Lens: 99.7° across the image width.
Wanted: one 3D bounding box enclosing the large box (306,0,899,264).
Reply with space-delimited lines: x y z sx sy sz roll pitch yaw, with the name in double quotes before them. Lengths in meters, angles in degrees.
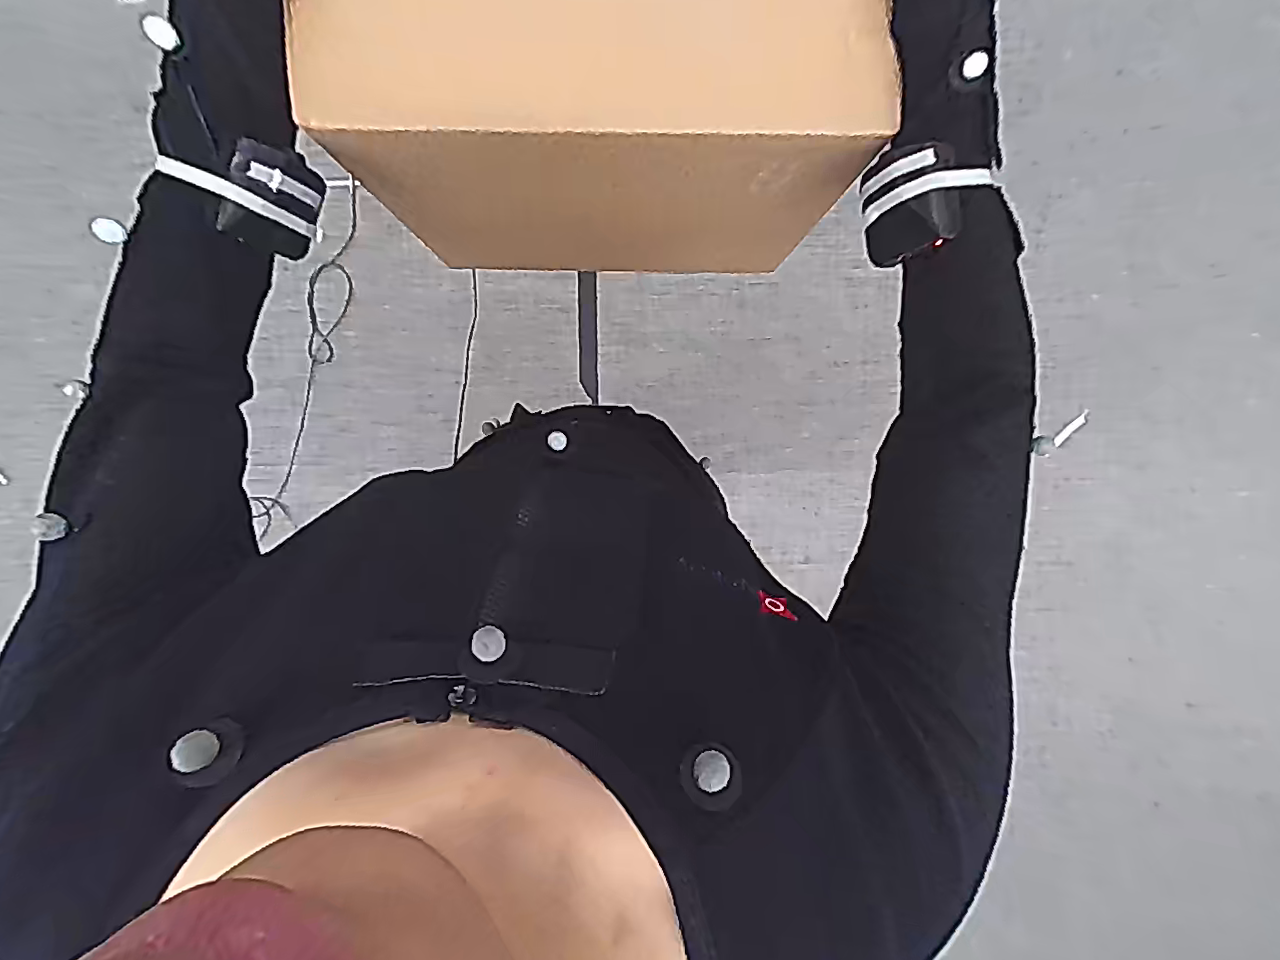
"large box" -0.028 -0.408 0.504 0.408 0.320 0.320 0 95 -2
